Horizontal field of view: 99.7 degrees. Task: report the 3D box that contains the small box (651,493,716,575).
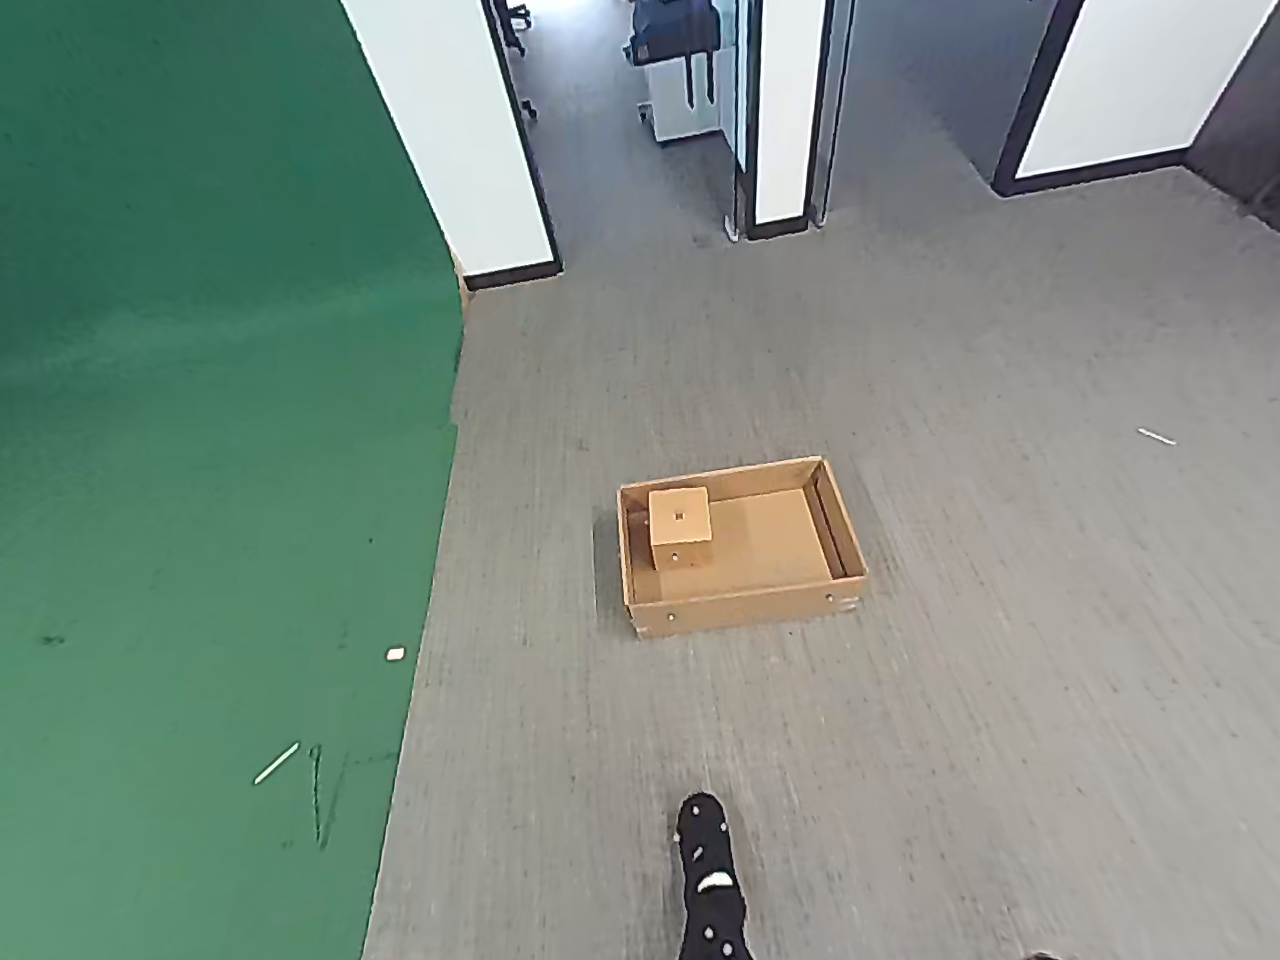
[{"bbox_3d":[0.125,0.161,1.541,0.168,0.176,0.179,-5,52,5],"label":"small box"}]
